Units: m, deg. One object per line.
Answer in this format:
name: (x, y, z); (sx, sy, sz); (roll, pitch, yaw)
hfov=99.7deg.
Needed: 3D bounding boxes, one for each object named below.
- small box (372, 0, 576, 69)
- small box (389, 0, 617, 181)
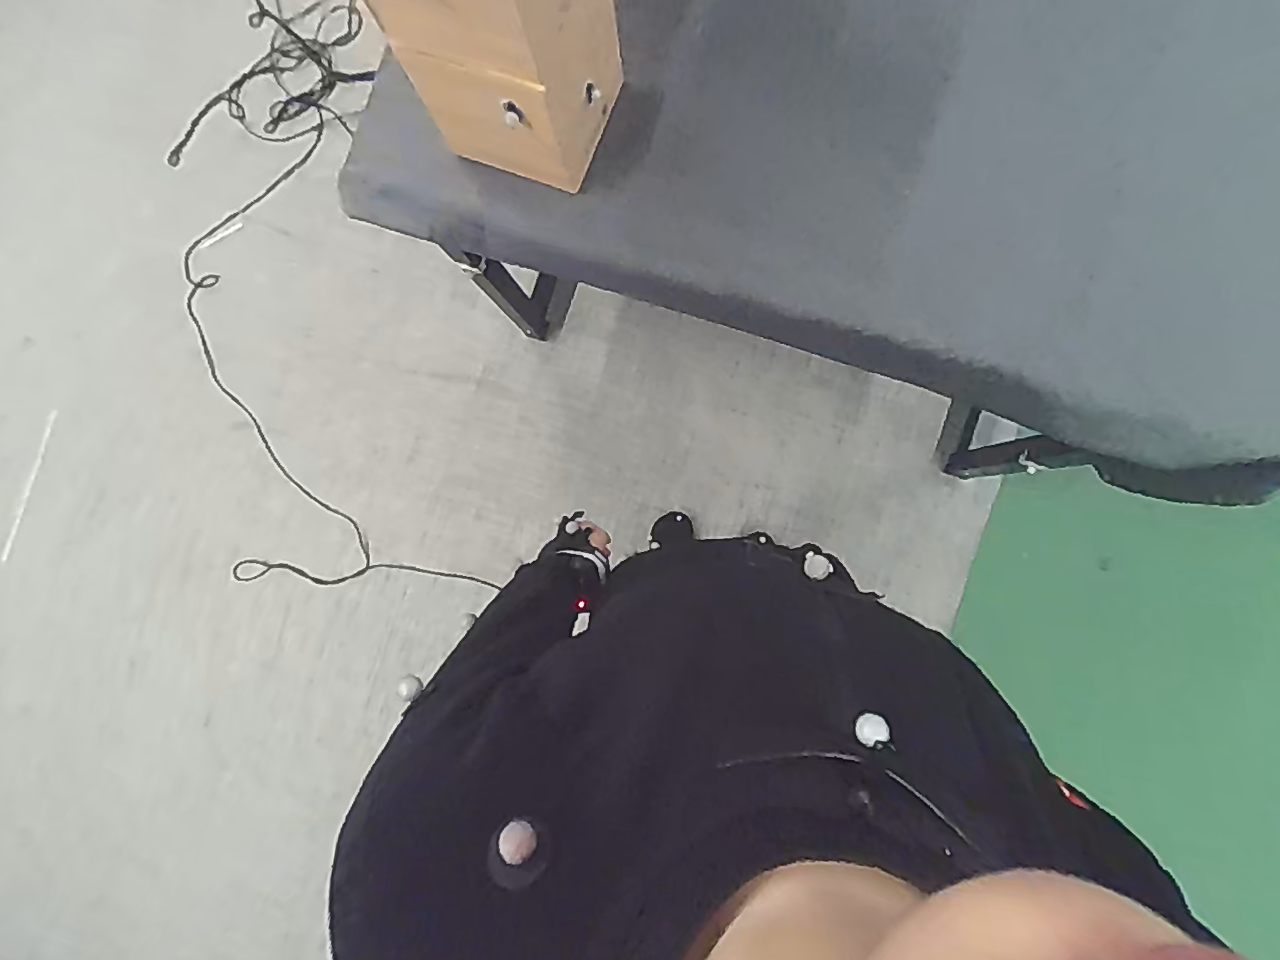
small box: (-0.151, -0.495, 0.453); (0.179, 0.176, 0.168); (18, 88, 6)
small box: (-0.137, -0.479, 0.615); (0.179, 0.176, 0.168); (21, 87, 5)
